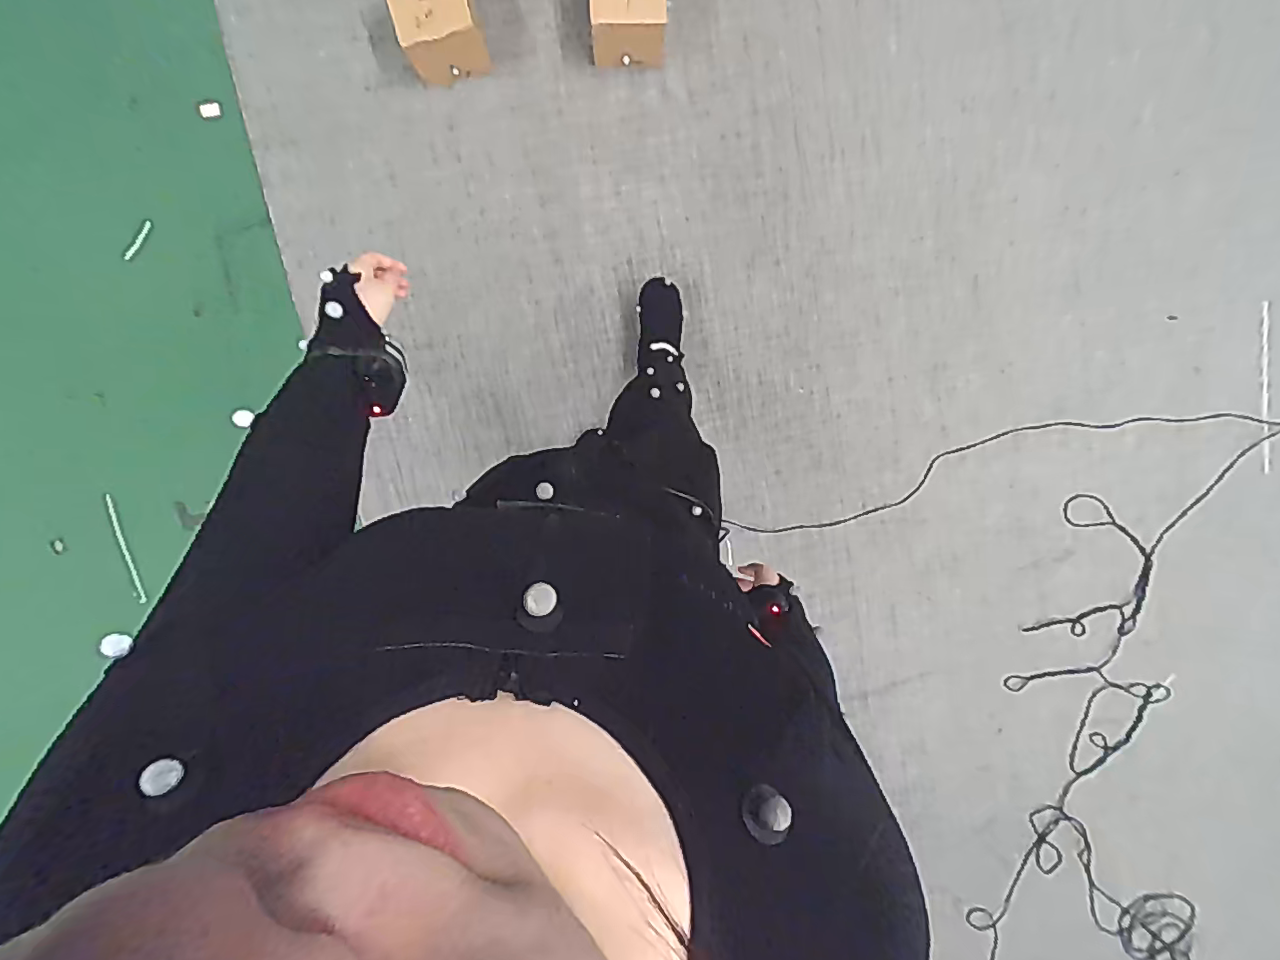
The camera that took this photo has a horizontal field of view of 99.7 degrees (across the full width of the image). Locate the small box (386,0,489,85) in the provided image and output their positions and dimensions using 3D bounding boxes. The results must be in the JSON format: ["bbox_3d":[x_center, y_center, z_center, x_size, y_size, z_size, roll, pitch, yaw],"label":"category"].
[{"bbox_3d":[-0.455,-1.036,1.207,0.168,0.176,0.179,-14,100,1],"label":"small box"}]

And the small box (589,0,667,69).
[{"bbox_3d":[-0.028,-1.068,1.212,0.168,0.176,0.179,-1,100,-1],"label":"small box"}]
